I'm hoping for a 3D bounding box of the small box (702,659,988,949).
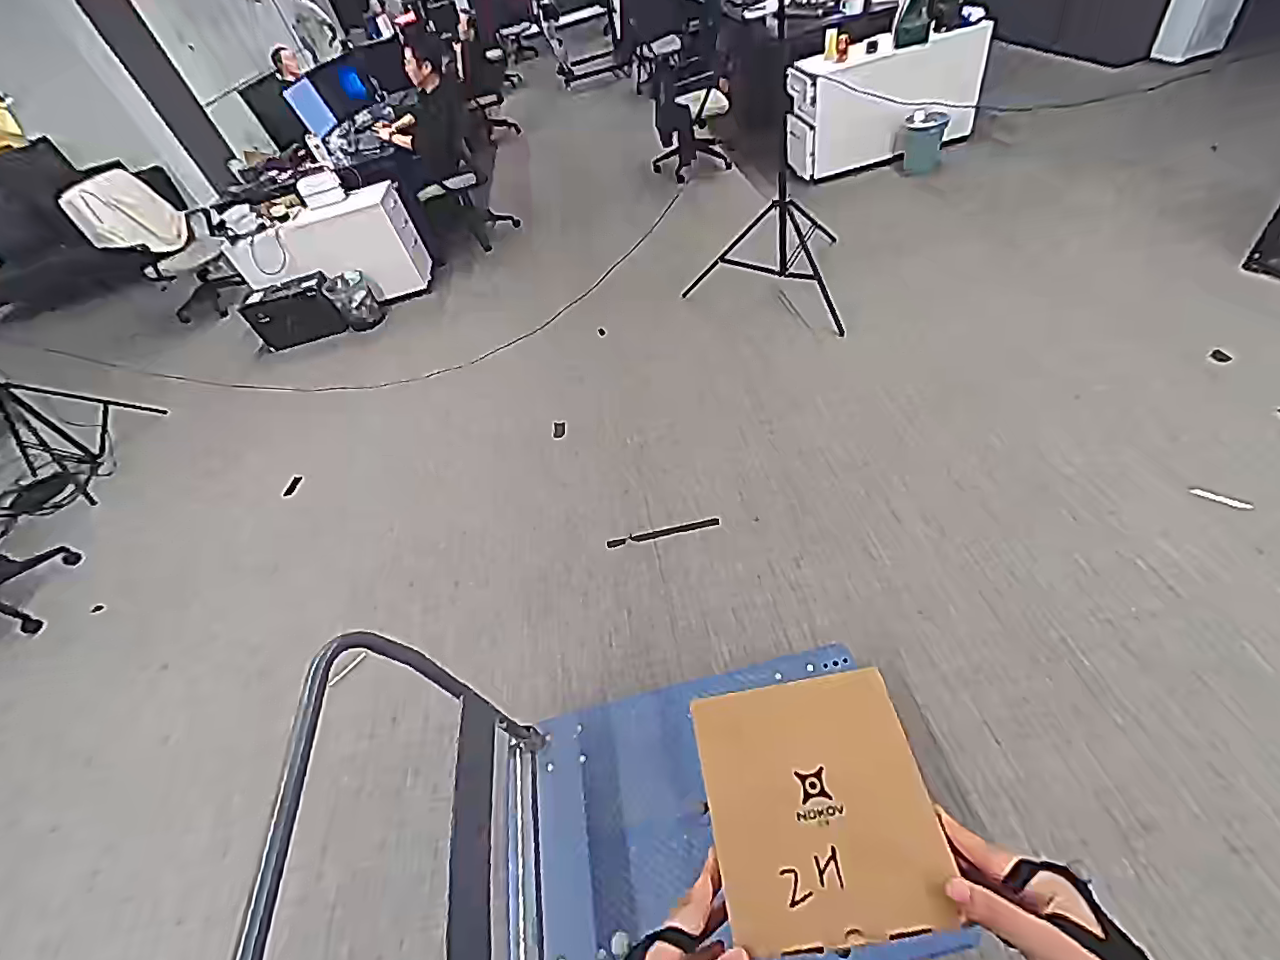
[{"bbox_3d":[0.155,0.283,0.476,0.168,0.176,0.179,-12,52,4],"label":"small box"}]
